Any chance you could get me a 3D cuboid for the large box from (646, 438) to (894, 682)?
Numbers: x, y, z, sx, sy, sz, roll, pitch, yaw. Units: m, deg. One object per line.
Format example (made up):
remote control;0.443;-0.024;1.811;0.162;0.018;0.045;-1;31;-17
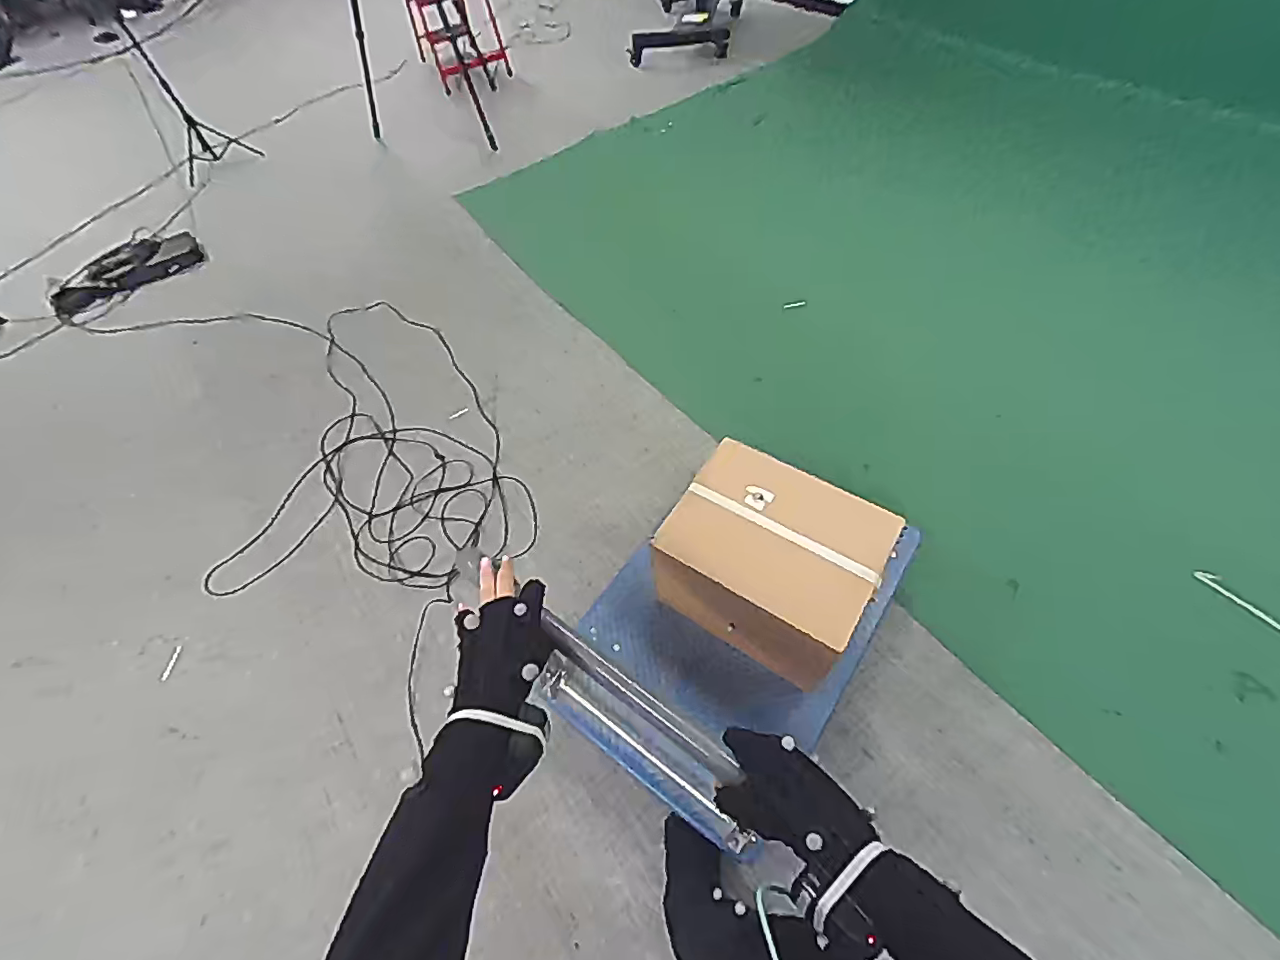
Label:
large box;0.271;0.178;1.196;0.408;0.320;0.320;28;62;22
